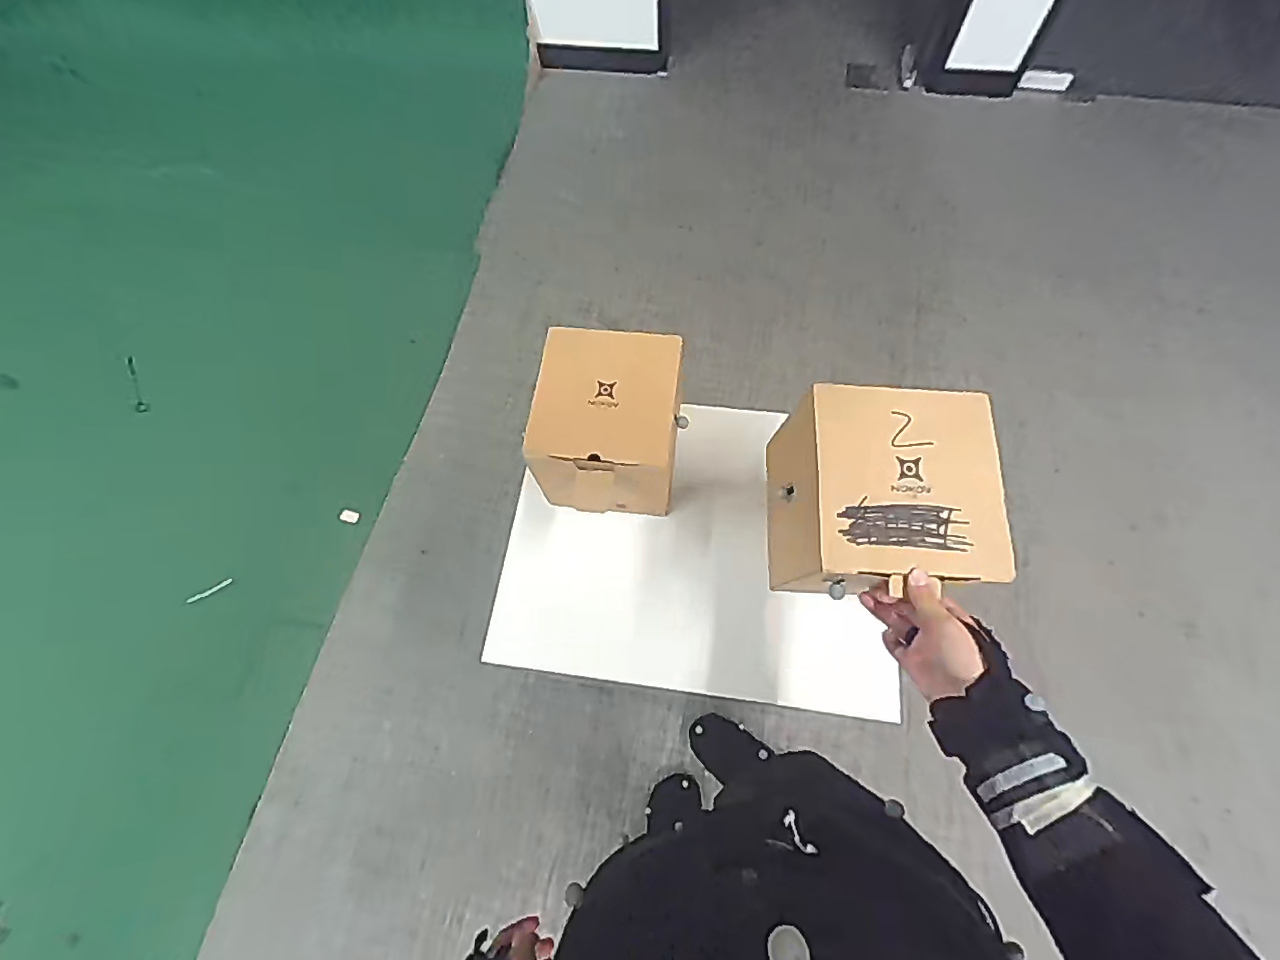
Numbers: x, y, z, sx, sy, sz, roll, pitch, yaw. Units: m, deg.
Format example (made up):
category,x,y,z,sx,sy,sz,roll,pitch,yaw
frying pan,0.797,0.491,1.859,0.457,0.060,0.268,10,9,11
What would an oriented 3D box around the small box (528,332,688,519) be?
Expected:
category,x,y,z,sx,sy,sz,roll,pitch,yaw
small box,-0.031,-0.064,0.699,0.168,0.176,0.179,6,69,5
